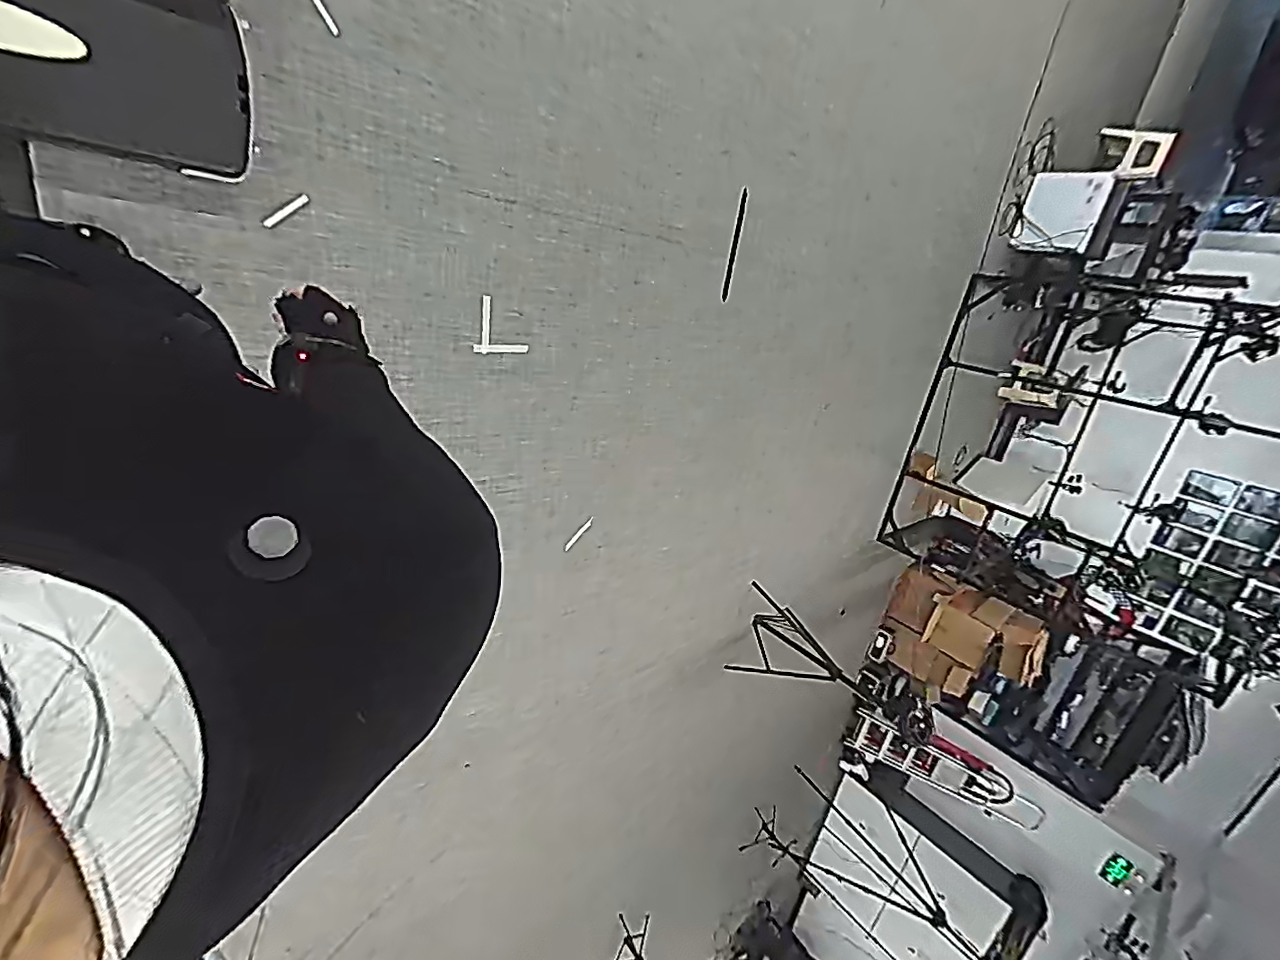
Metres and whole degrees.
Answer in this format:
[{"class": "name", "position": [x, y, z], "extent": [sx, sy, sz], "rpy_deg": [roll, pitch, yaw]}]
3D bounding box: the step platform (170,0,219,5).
[{"class": "step platform", "position": [-0.917, -0.887, 0.646], "extent": [0.684, 0.204, 0.286], "rpy_deg": [-11, 120, -42]}]
